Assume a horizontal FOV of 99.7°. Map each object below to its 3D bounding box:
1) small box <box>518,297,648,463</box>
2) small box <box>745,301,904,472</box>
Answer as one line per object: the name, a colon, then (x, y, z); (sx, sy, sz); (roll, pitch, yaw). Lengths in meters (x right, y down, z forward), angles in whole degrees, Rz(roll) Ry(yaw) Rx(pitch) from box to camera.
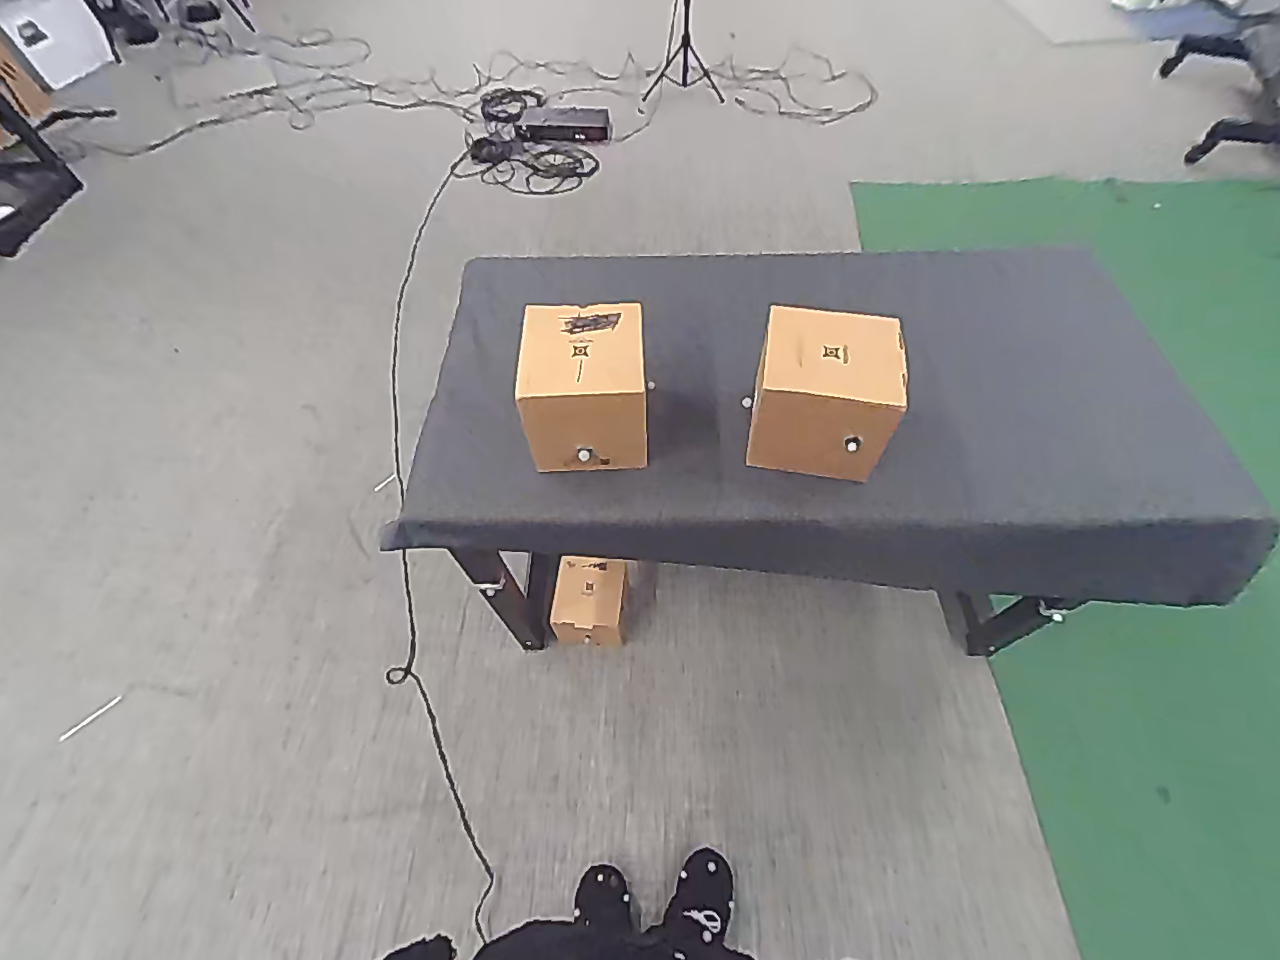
small box: (-0.074, -0.143, 0.790); (0.168, 0.176, 0.179); (-2, 57, 0)
small box: (0.255, -0.129, 0.777); (0.179, 0.176, 0.168); (8, 57, 8)
